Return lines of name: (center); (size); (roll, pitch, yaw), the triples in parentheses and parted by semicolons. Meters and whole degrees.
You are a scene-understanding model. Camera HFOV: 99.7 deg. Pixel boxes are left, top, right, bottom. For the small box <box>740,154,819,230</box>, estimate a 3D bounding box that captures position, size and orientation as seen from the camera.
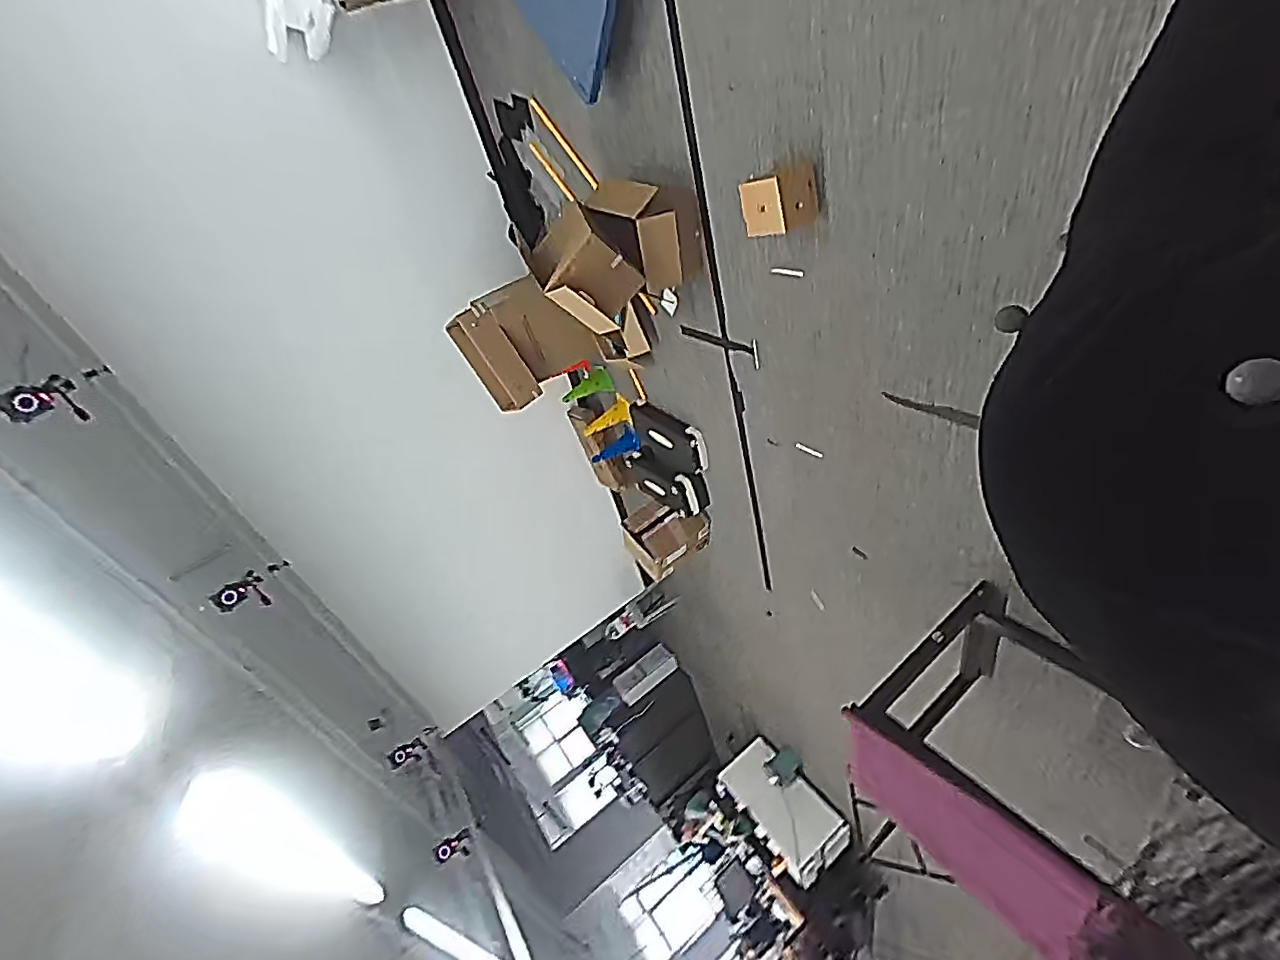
small box: (0.457, -0.924, 1.740); (0.179, 0.176, 0.168); (30, 147, 54)
